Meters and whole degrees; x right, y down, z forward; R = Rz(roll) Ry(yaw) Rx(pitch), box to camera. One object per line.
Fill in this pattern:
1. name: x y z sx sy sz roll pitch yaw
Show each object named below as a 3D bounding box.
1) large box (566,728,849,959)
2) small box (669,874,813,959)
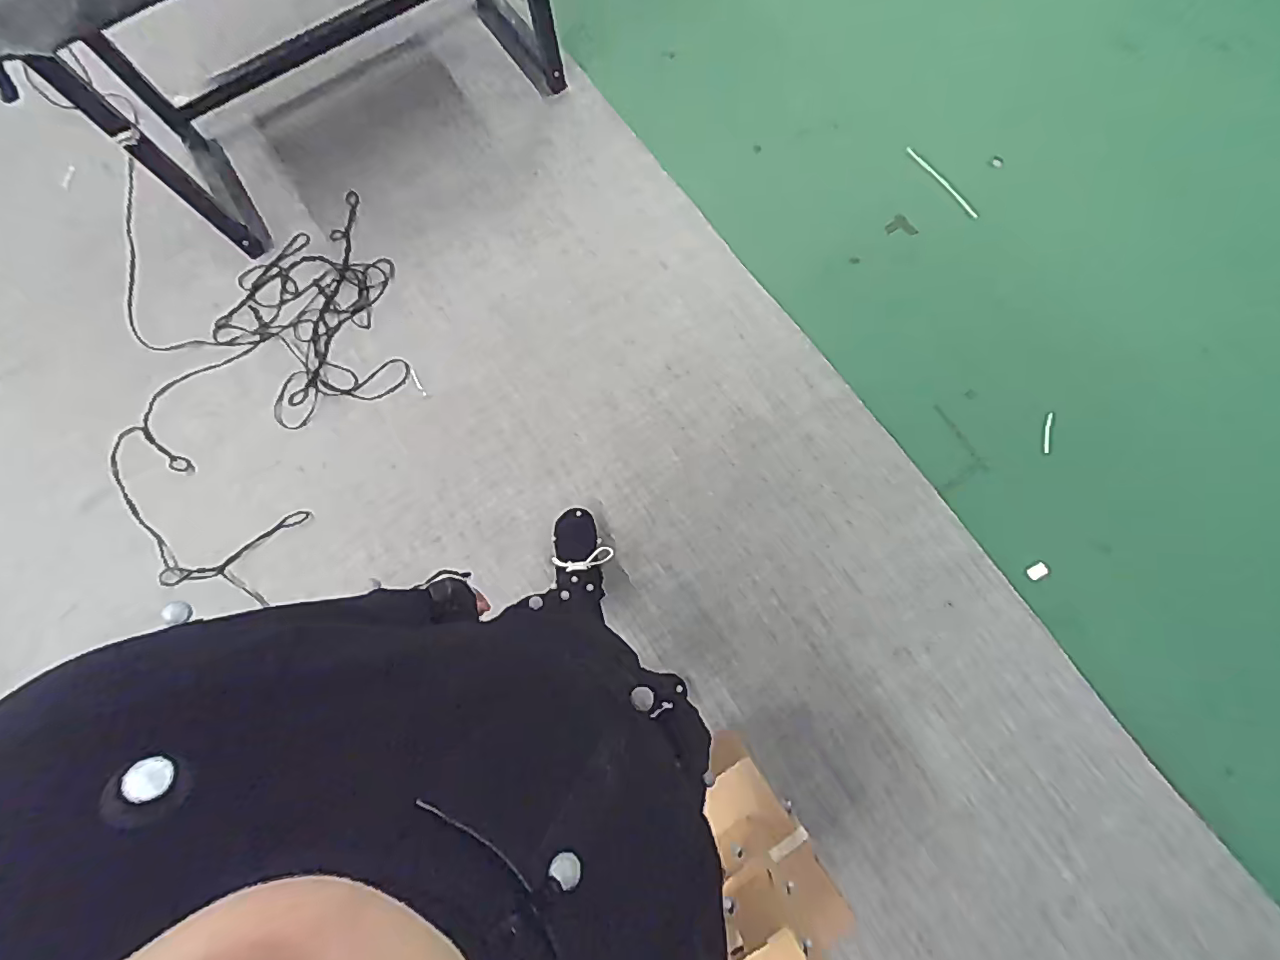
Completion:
1. large box: 0.124 0.773 1.078 0.408 0.320 0.320 -34 75 -4
2. small box: 0.147 0.658 0.686 0.168 0.176 0.179 -28 75 -4
